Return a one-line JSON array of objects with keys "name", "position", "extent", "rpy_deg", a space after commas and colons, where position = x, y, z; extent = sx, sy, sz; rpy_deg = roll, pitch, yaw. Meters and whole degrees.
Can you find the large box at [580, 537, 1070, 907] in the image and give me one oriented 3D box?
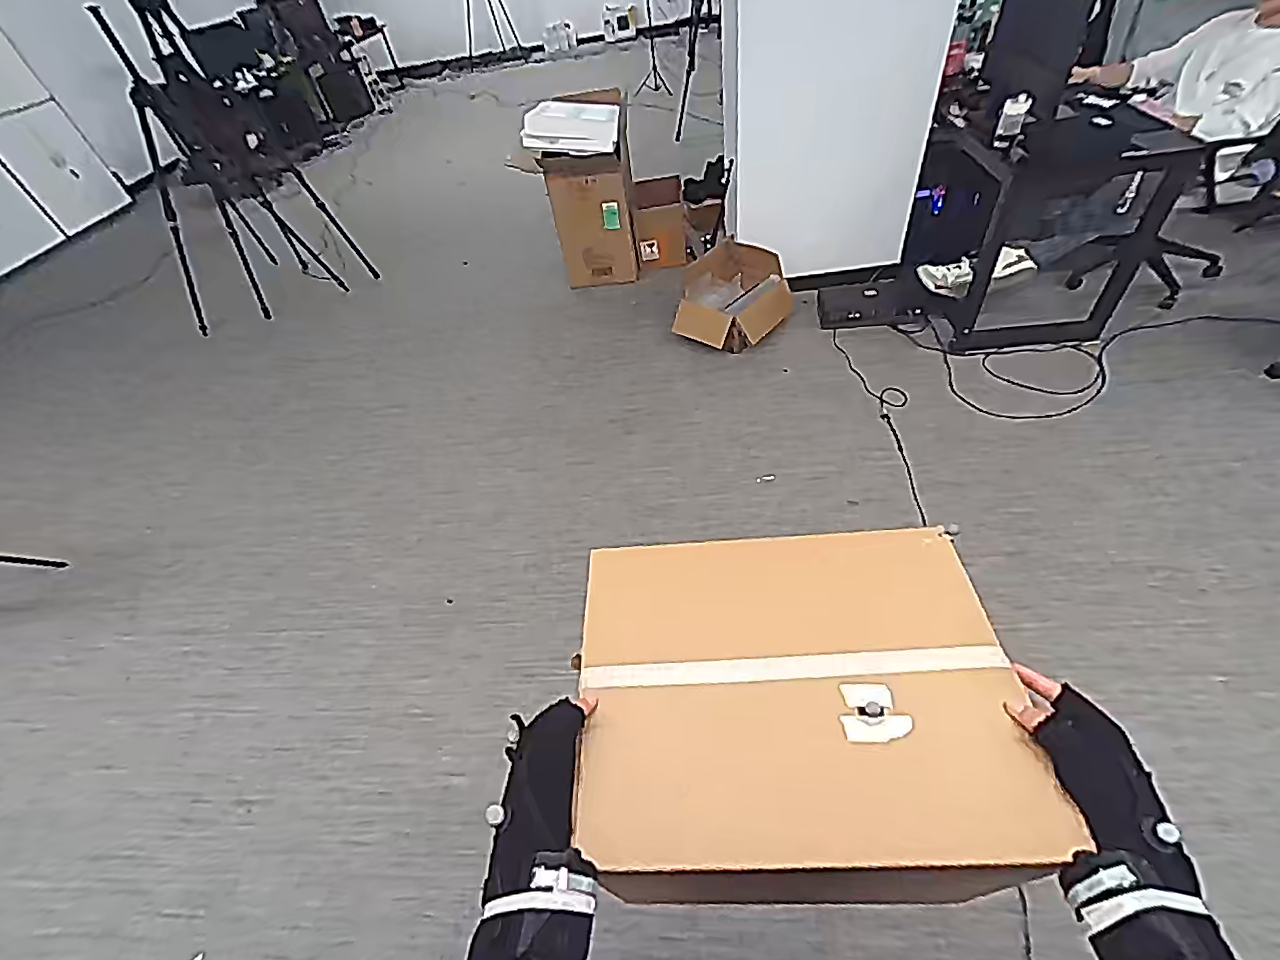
[{"name": "large box", "position": [0.158, 0.295, 0.647], "extent": [0.408, 0.320, 0.320], "rpy_deg": [-5, 48, 5]}]
